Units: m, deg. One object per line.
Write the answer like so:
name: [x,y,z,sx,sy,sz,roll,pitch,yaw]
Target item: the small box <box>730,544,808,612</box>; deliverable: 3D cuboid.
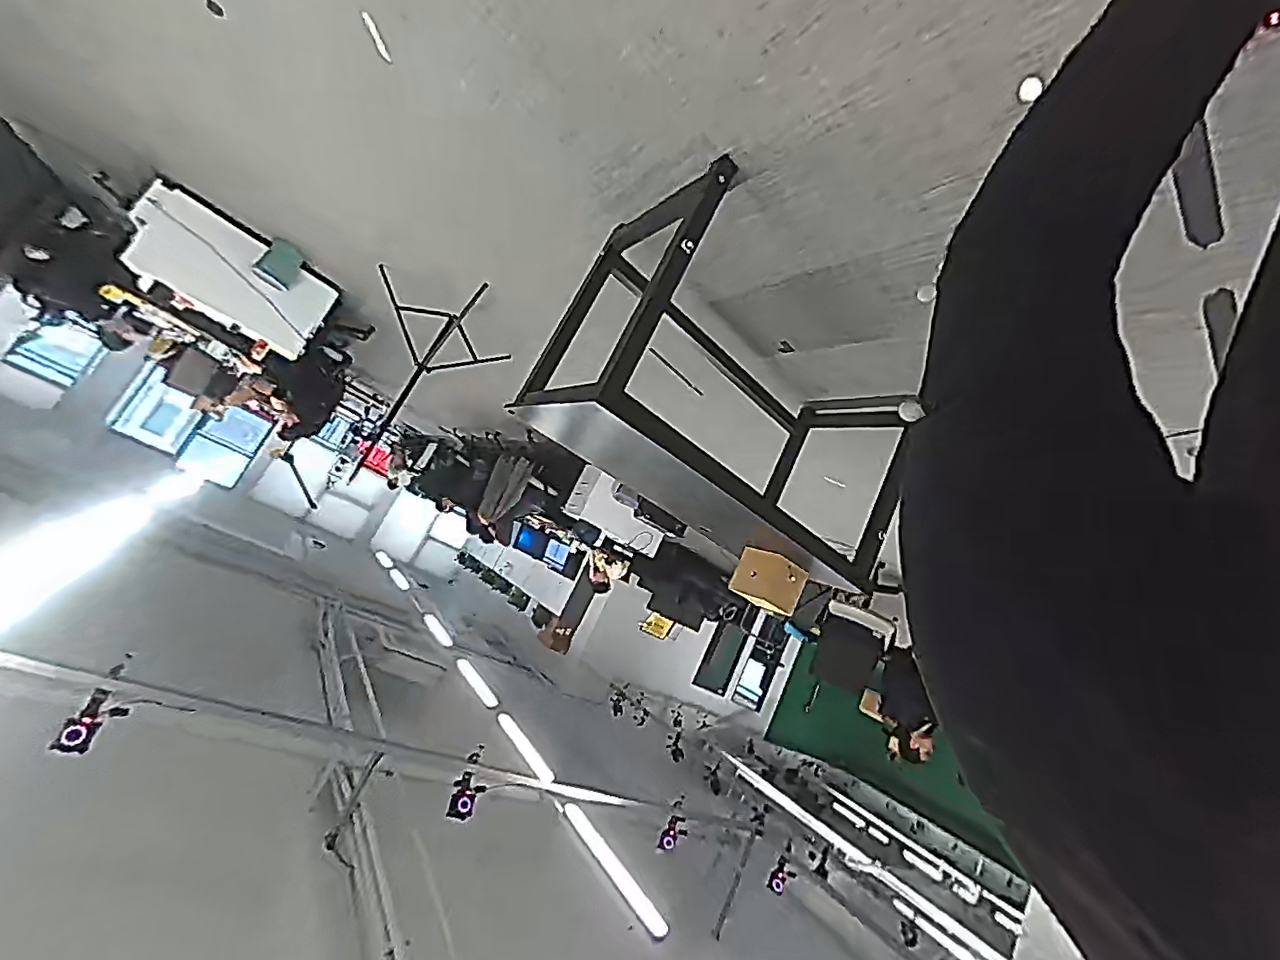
small box: [0.460,0.340,1.916,0.168,0.176,0.179,32,167,-29]
